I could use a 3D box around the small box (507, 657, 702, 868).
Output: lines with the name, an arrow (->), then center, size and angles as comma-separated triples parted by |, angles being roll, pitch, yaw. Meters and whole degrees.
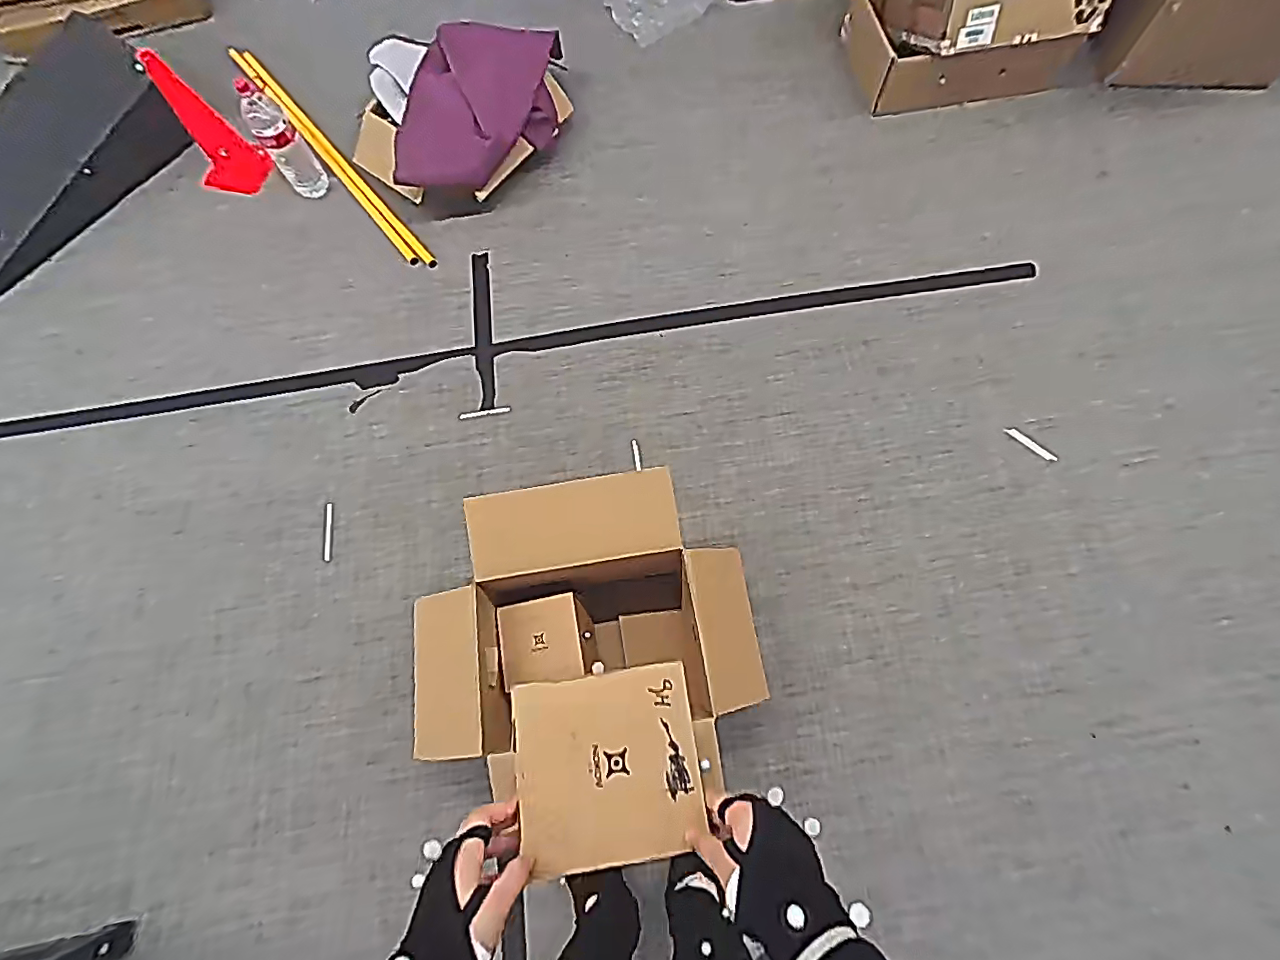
small box -> -0.040, 0.296, 0.596 | 0.179, 0.176, 0.168 | -7, 69, -5
